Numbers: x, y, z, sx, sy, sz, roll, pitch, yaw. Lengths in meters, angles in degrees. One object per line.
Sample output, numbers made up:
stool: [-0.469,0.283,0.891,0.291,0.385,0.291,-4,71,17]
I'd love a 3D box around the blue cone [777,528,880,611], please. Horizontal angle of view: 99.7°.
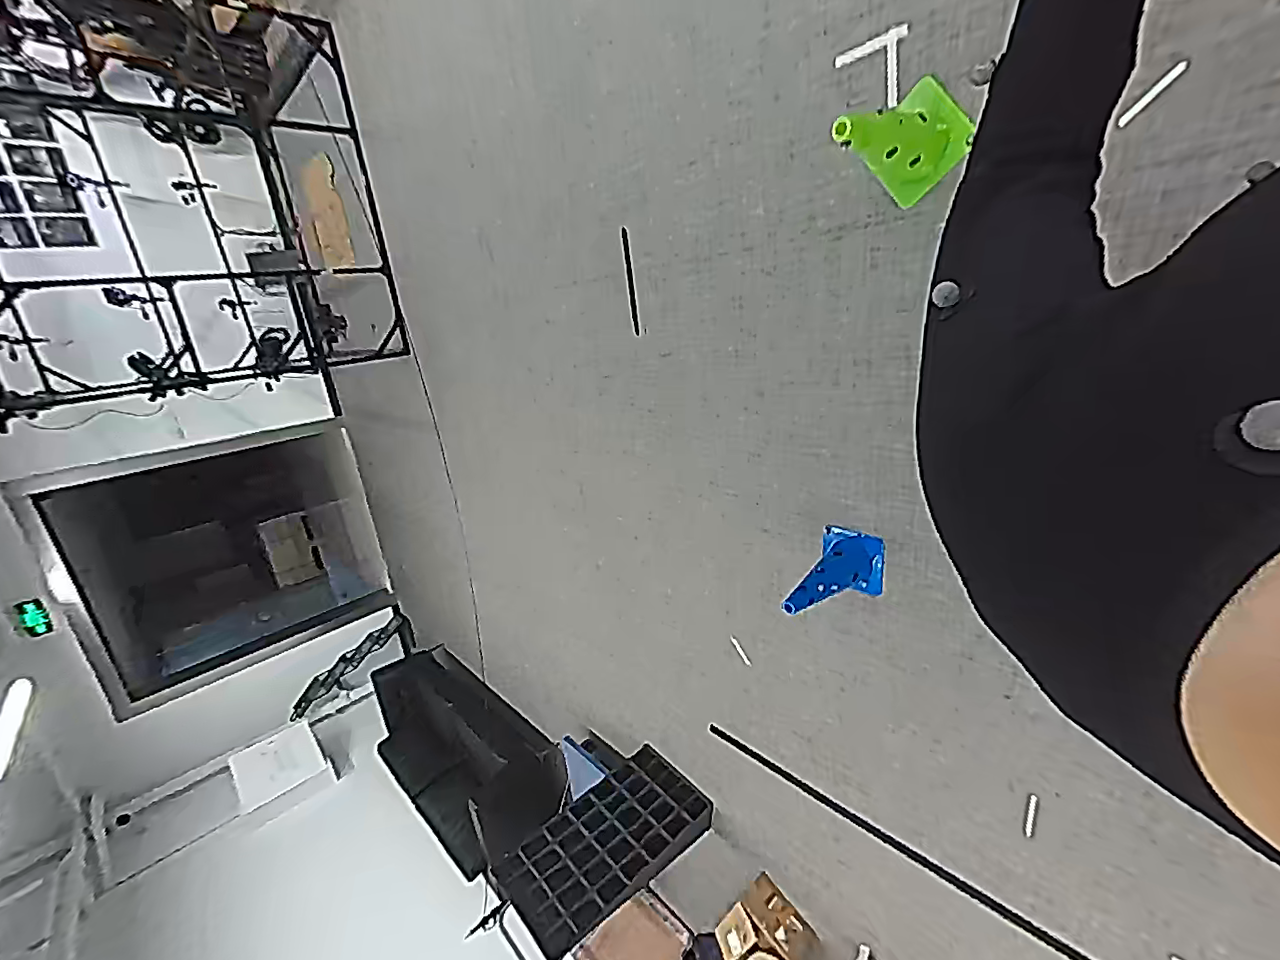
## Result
blue cone: [0.544,0.301,1.619,0.192,0.380,0.193,18,120,46]

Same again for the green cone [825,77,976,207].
green cone: [0.513,-0.731,1.154,0.200,0.368,0.202,60,143,12]
